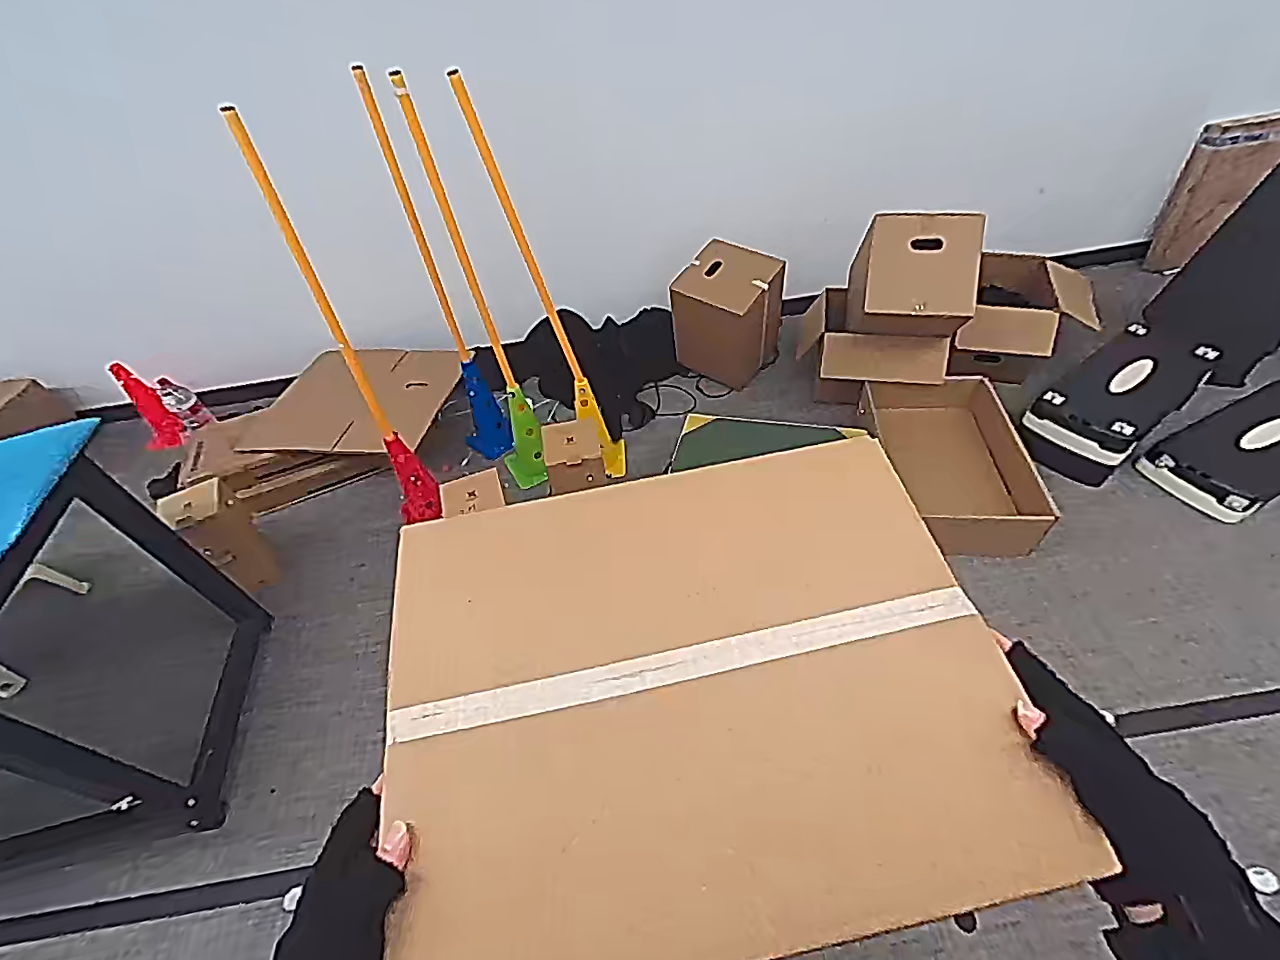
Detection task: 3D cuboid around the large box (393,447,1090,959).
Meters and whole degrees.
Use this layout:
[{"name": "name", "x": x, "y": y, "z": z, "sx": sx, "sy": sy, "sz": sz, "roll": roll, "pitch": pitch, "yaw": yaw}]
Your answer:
[{"name": "large box", "x": 0.045, "y": 0.216, "z": 0.497, "sx": 0.408, "sy": 0.320, "sz": 0.320, "roll": -12, "pitch": 55, "yaw": -3}]
